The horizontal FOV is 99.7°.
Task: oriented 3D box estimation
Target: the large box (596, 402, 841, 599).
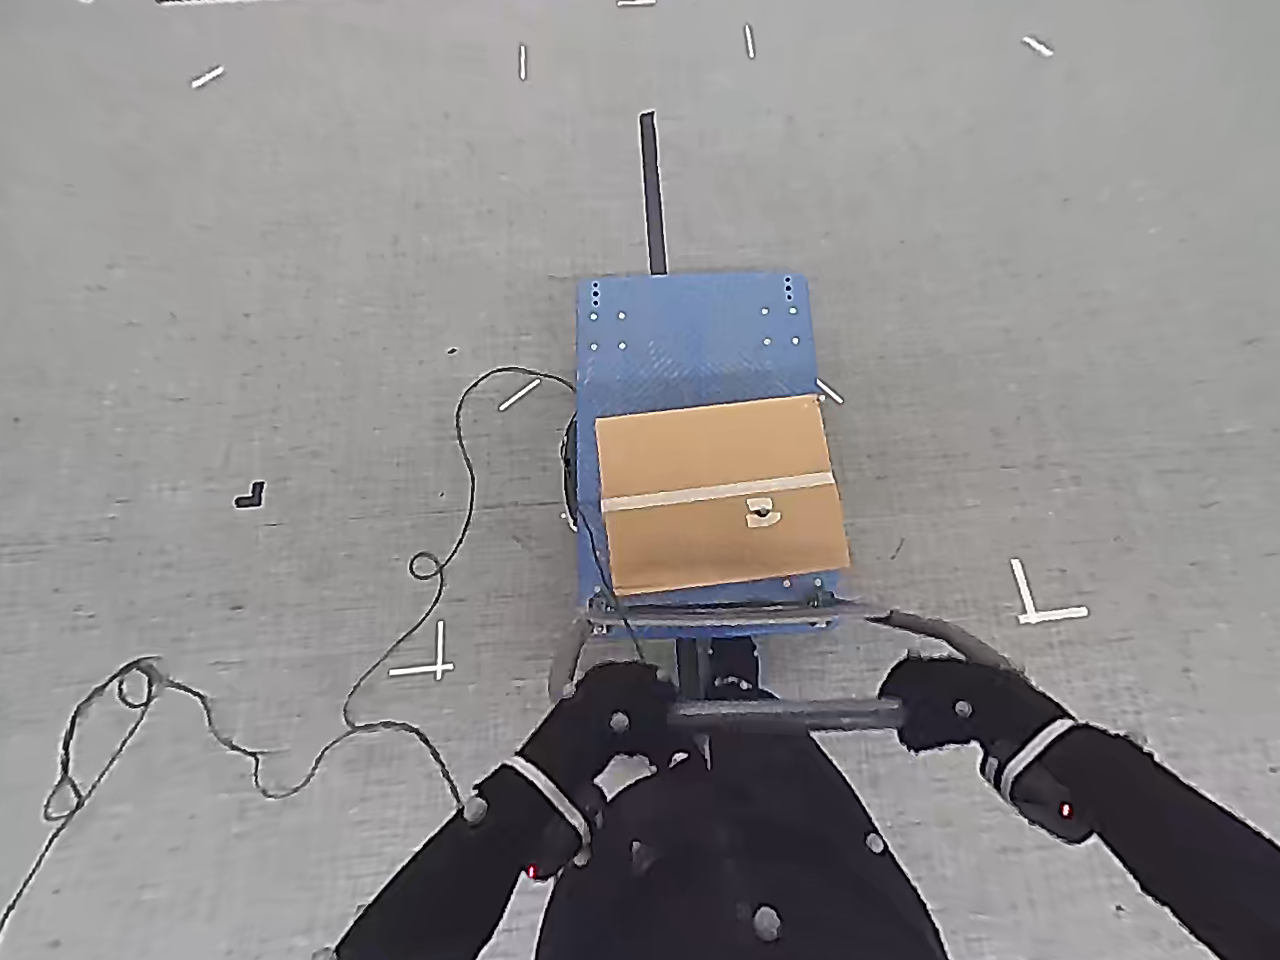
[{"bbox_3d":[0.132,0.060,1.104,0.408,0.320,0.320,-7,80,-2],"label":"large box"}]
